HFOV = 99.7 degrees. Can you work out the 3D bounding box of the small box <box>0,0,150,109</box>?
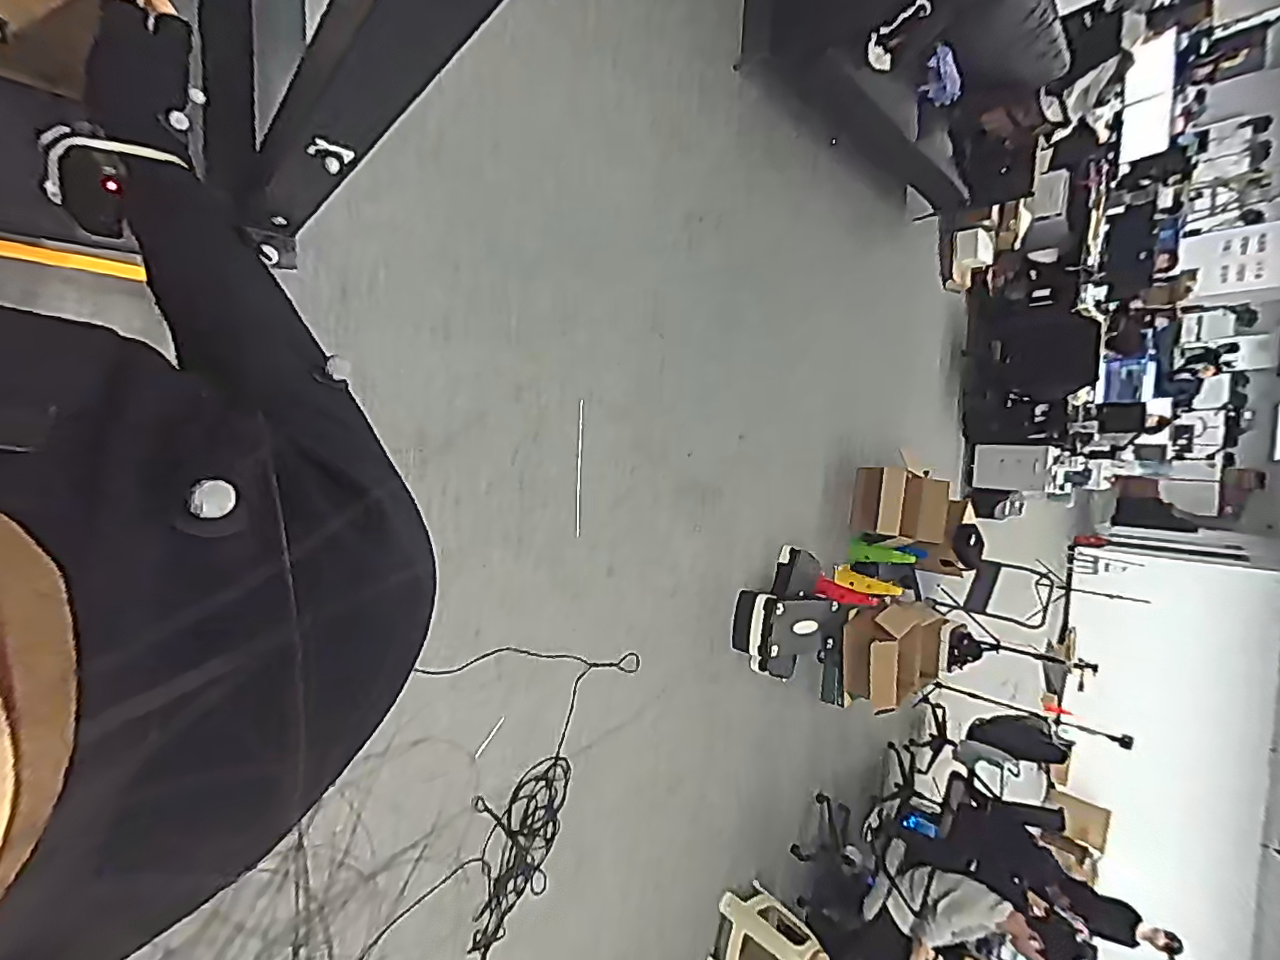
[{"bbox_3d":[-0.503,-0.447,0.428,0.168,0.176,0.179,-2,87,-41],"label":"small box"}]
